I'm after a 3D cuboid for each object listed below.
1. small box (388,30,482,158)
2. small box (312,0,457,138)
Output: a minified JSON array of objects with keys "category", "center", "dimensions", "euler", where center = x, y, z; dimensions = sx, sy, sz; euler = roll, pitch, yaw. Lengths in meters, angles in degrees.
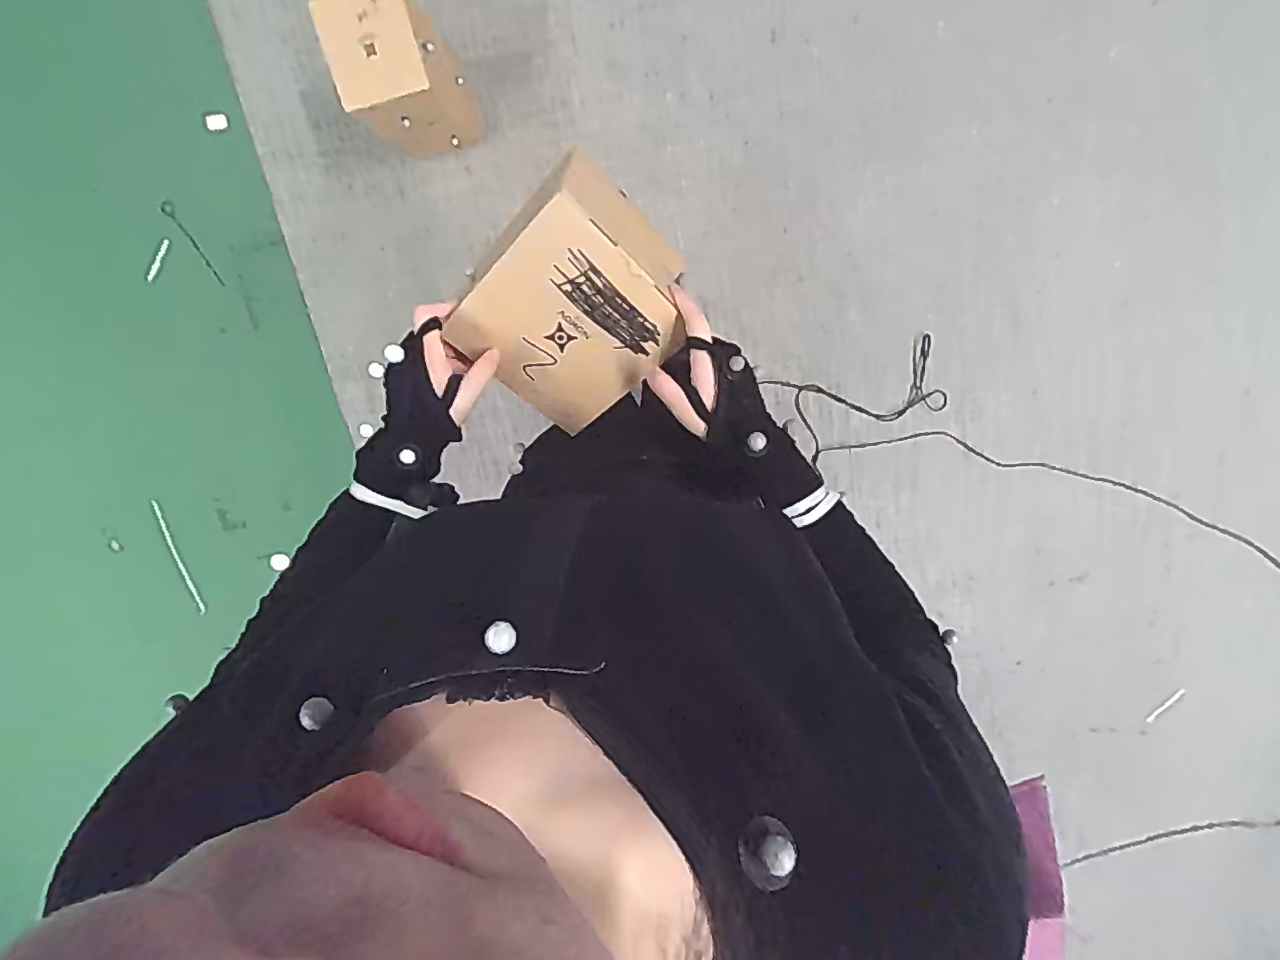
[{"category":"small box","center":[-0.467,-0.833,1.190],"dimensions":[0.168,0.176,0.179],"euler":[-11,105,5]},{"category":"small box","center":[-0.474,-0.783,1.034],"dimensions":[0.168,0.176,0.179],"euler":[-12,106,4]}]
